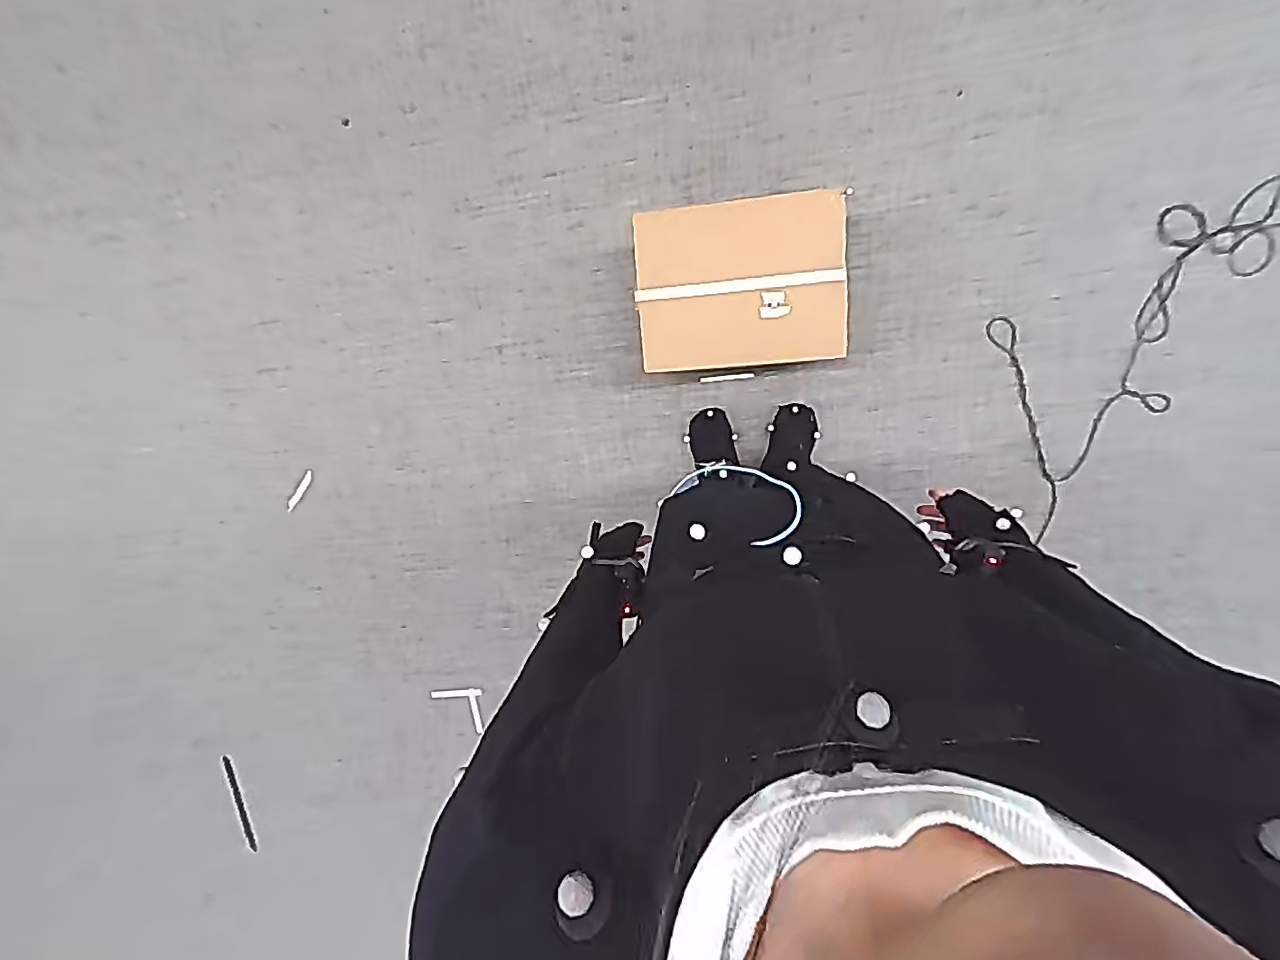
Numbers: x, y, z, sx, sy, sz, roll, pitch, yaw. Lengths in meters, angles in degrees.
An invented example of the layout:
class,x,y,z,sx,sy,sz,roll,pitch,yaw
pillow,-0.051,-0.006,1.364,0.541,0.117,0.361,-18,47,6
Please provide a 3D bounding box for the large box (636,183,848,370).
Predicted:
class,x,y,z,sx,sy,sz,roll,pitch,yaw
large box,0.219,-0.421,1.208,0.408,0.320,0.320,-3,102,9
